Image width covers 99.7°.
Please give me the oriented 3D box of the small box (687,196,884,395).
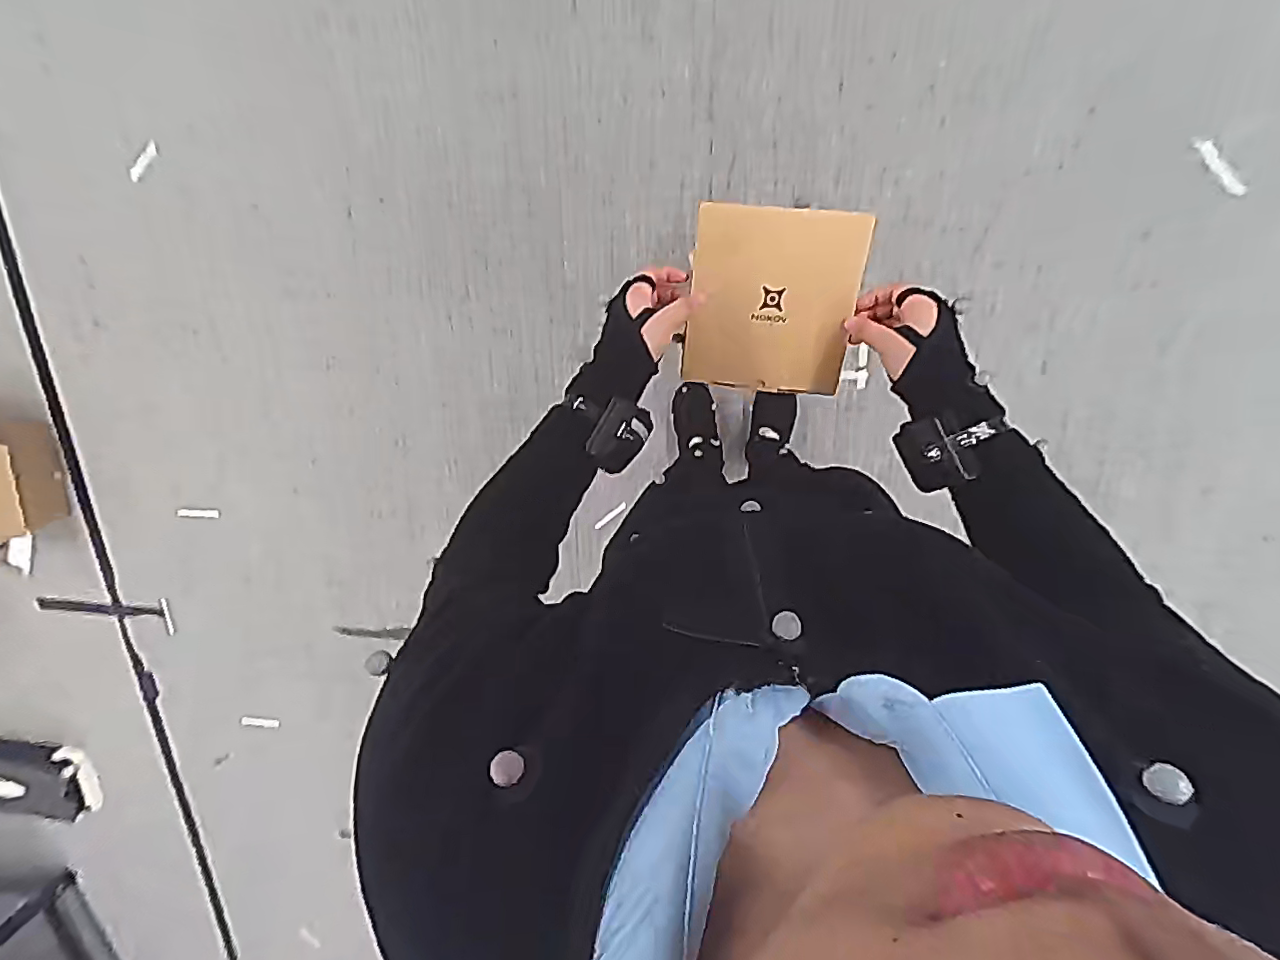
[{"bbox_3d":[0.145,-0.209,0.602,0.168,0.176,0.179,7,116,5],"label":"small box"}]
